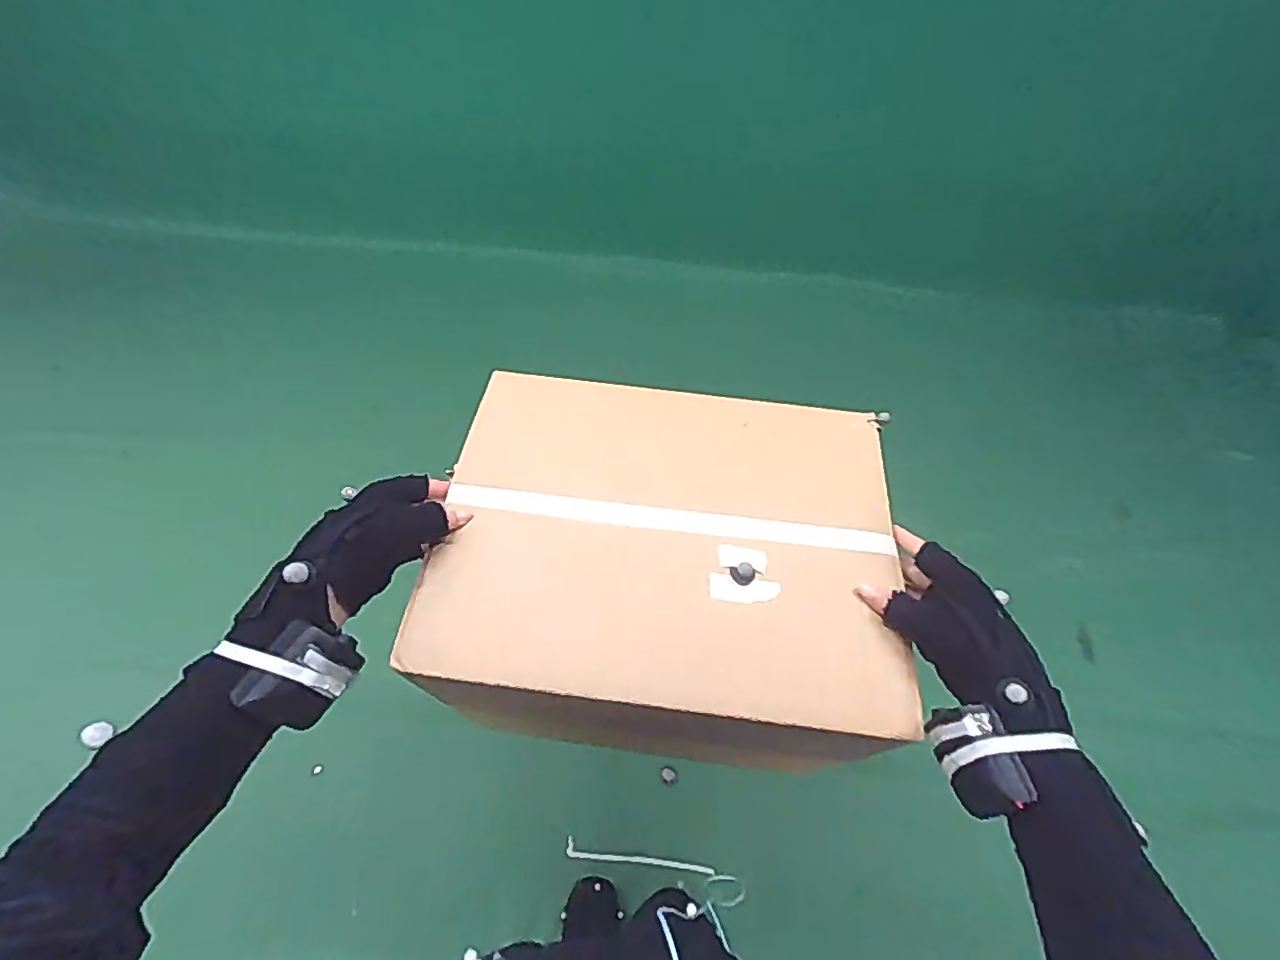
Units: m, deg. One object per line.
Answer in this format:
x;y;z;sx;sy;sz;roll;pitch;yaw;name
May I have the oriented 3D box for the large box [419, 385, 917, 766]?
0.027;0.124;0.627;0.408;0.320;0.320;7;57;1;large box
